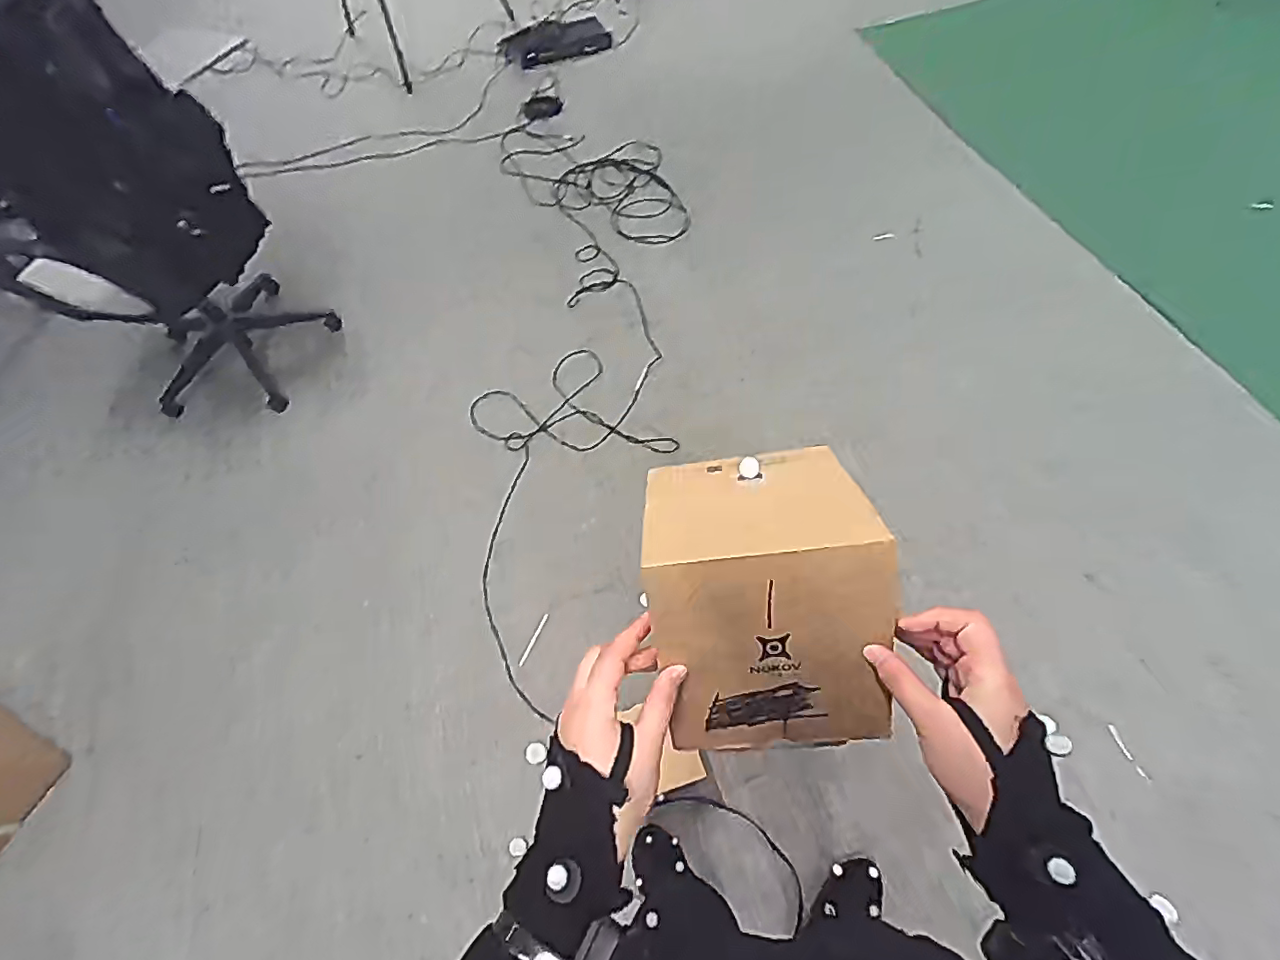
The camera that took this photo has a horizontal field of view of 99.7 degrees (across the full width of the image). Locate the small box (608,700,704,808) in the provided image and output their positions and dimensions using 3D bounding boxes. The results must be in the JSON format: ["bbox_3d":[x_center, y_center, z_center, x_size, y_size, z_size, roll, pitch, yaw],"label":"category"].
[{"bbox_3d":[0.038,0.603,1.203,0.168,0.176,0.179,-17,61,-5],"label":"small box"}]

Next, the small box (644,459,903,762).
[{"bbox_3d":[0.100,0.098,0.448,0.168,0.179,0.176,-7,20,6],"label":"small box"}]
